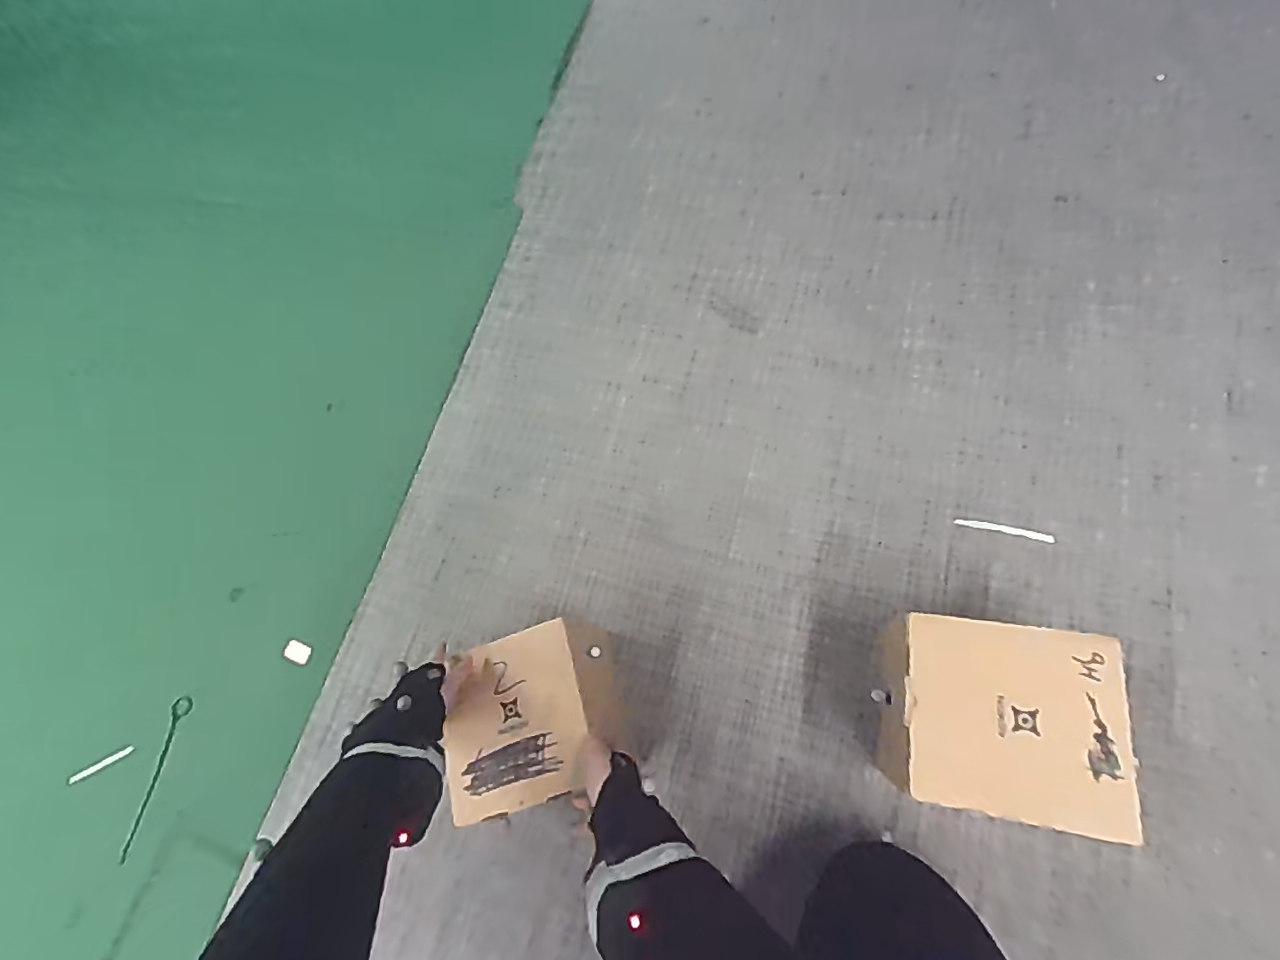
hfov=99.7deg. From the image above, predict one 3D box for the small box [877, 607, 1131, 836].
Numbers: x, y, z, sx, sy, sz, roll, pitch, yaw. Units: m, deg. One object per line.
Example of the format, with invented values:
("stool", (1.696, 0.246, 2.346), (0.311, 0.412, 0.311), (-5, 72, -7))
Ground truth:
("small box", (0.348, 0.236, 0.558), (0.179, 0.176, 0.168), (4, 71, 17))
